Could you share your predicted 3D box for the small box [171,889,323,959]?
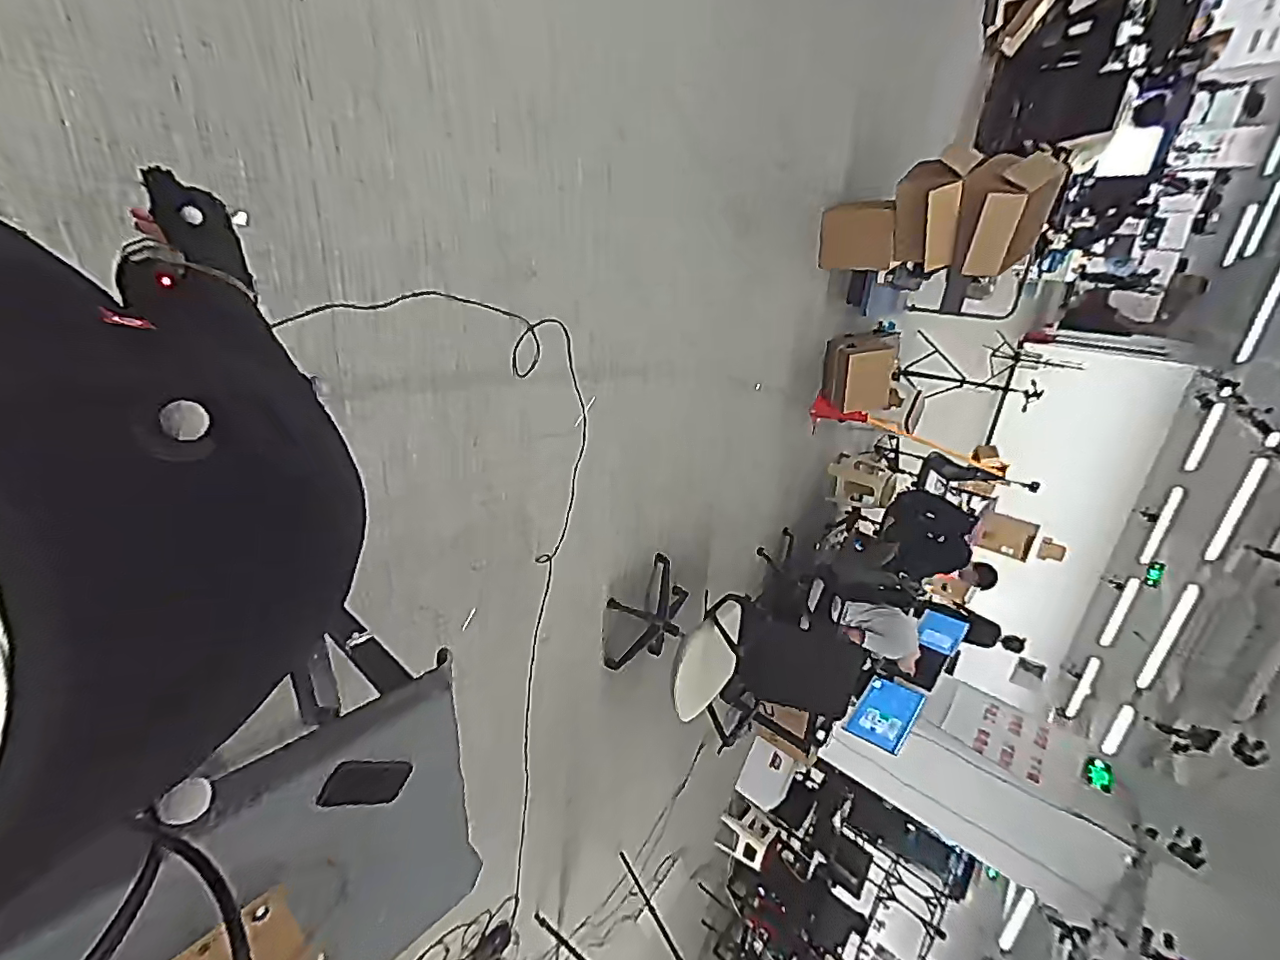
[{"bbox_3d":[-0.581,0.771,0.811,0.168,0.176,0.179,-24,127,-44],"label":"small box"}]
